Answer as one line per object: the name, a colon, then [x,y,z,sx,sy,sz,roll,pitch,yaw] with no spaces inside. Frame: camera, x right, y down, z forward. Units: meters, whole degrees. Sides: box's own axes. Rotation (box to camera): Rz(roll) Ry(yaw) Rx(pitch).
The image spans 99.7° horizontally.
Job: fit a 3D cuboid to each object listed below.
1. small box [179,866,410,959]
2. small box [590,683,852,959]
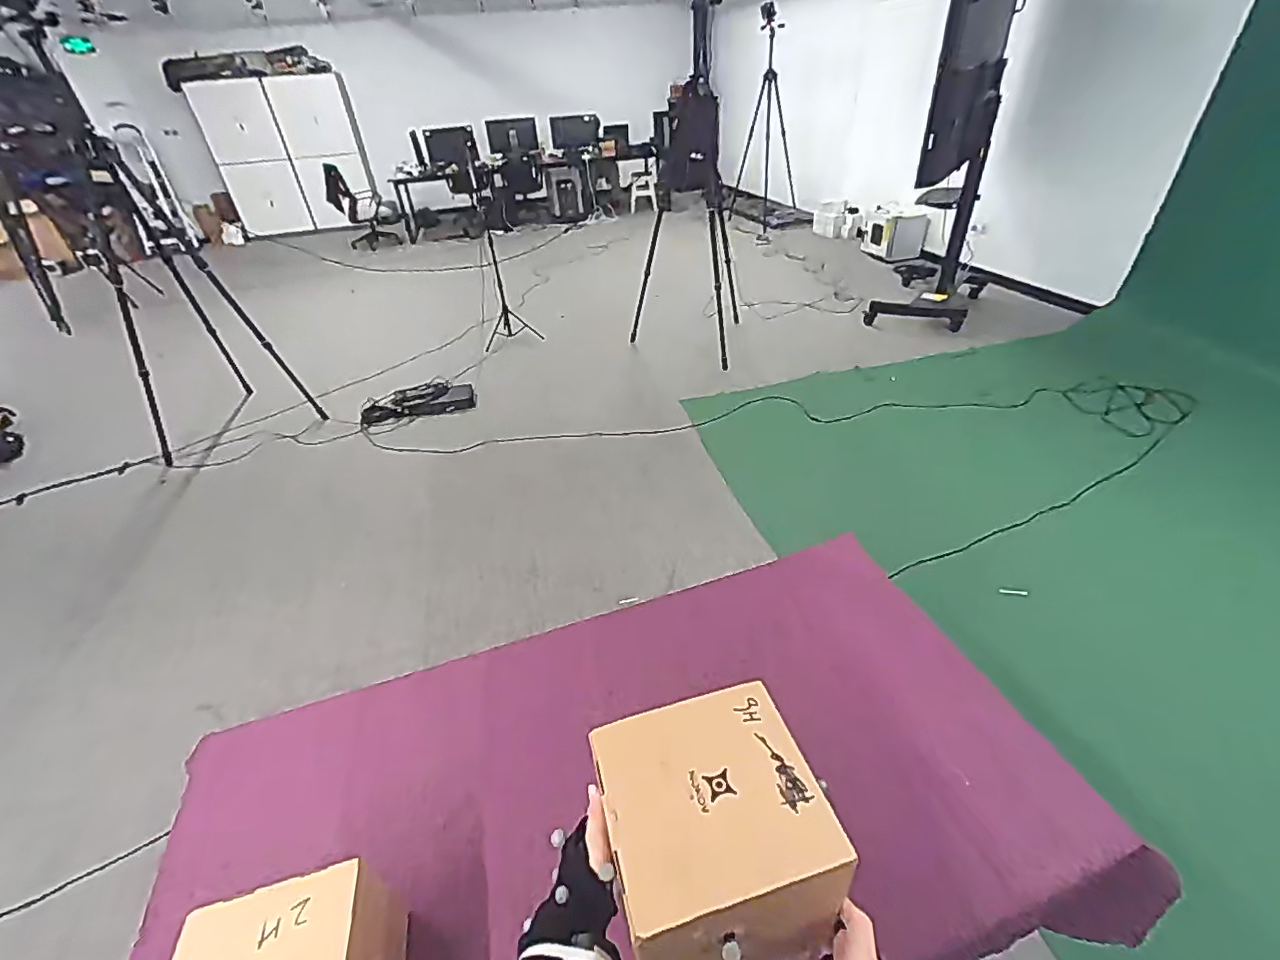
small box: [-0.342,0.534,0.537,0.168,0.176,0.179,-12,37,-10]
small box: [0.064,0.324,0.490,0.179,0.176,0.168,-12,33,-10]
